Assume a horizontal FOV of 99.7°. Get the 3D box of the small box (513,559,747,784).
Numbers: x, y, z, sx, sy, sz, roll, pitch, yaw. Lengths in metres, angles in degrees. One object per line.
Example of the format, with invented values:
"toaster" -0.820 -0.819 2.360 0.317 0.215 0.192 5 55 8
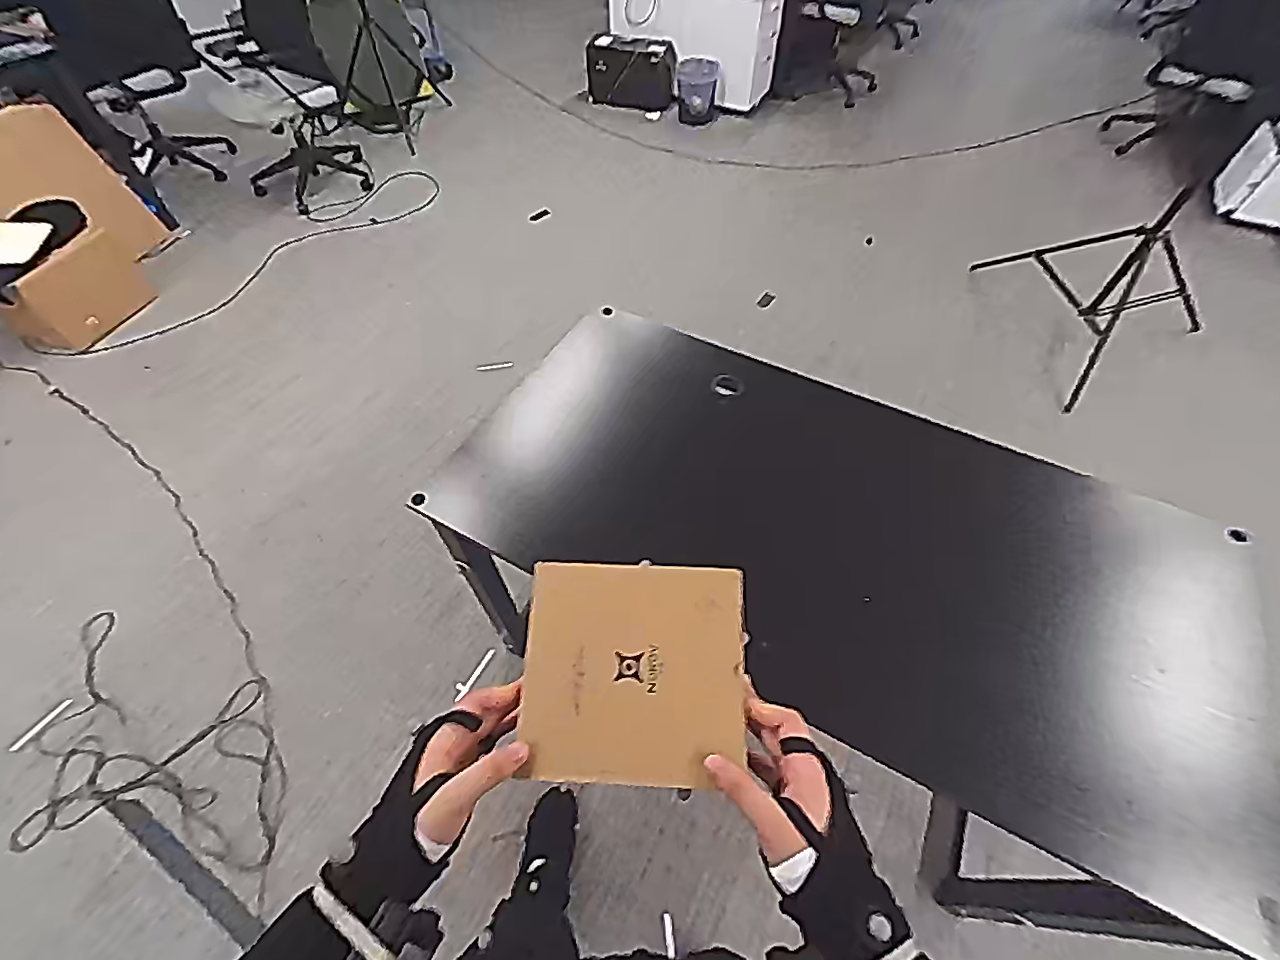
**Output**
"small box" -0.002 0.178 0.504 0.179 0.176 0.168 1 65 3
